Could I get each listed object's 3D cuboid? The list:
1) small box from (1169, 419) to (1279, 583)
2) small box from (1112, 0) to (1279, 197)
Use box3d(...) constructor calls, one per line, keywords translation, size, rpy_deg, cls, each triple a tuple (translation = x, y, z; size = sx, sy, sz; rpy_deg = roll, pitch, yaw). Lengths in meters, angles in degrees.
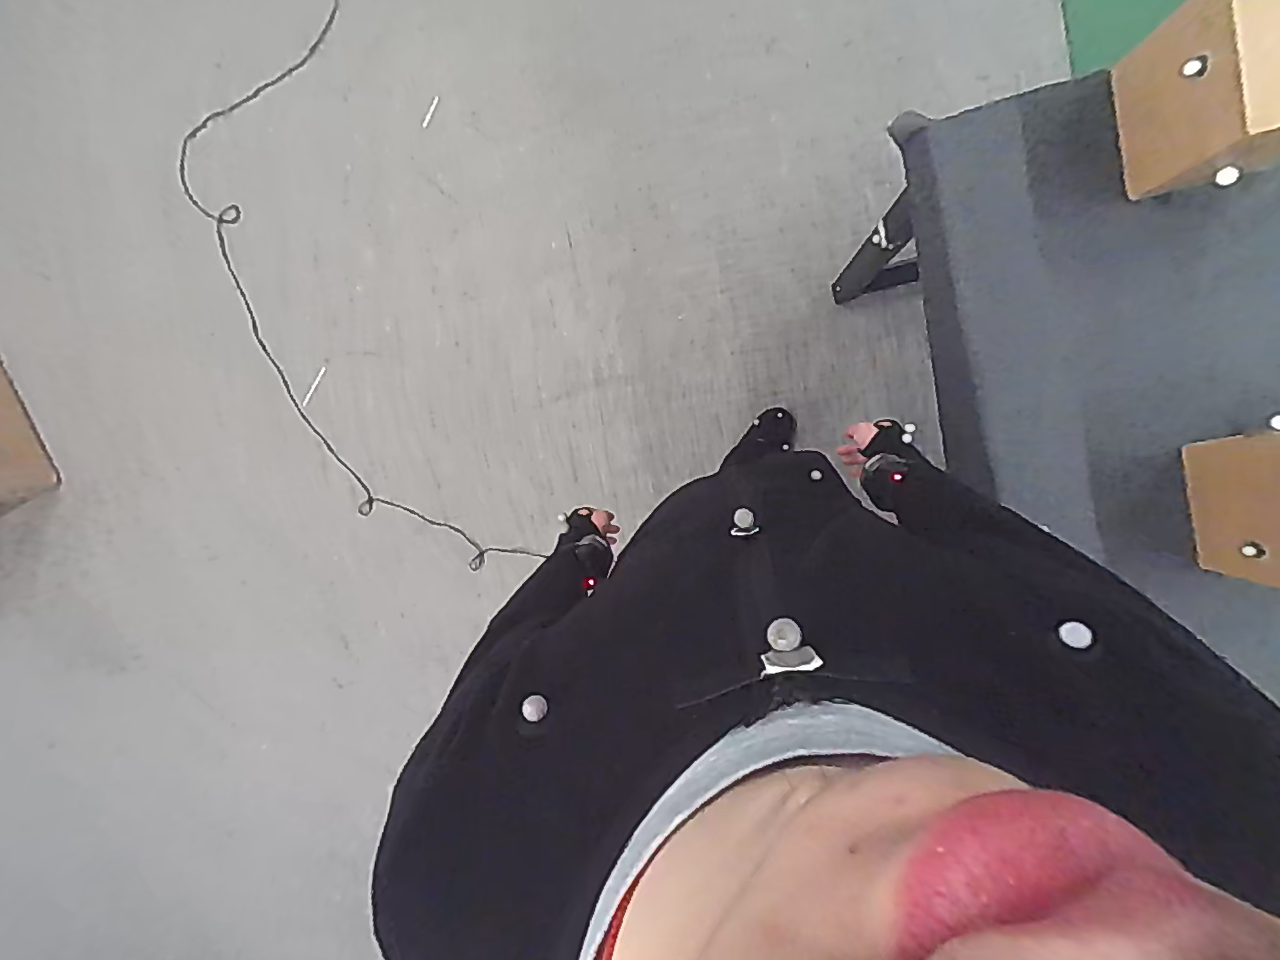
box3d(translation=(0.822, 0.020, 0.671), size=(0.168, 0.176, 0.179), rpy_deg=(-12, 93, 6), cls="small box")
box3d(translation=(0.705, -0.469, 0.634), size=(0.168, 0.176, 0.179), rpy_deg=(-11, 95, 7), cls="small box")
